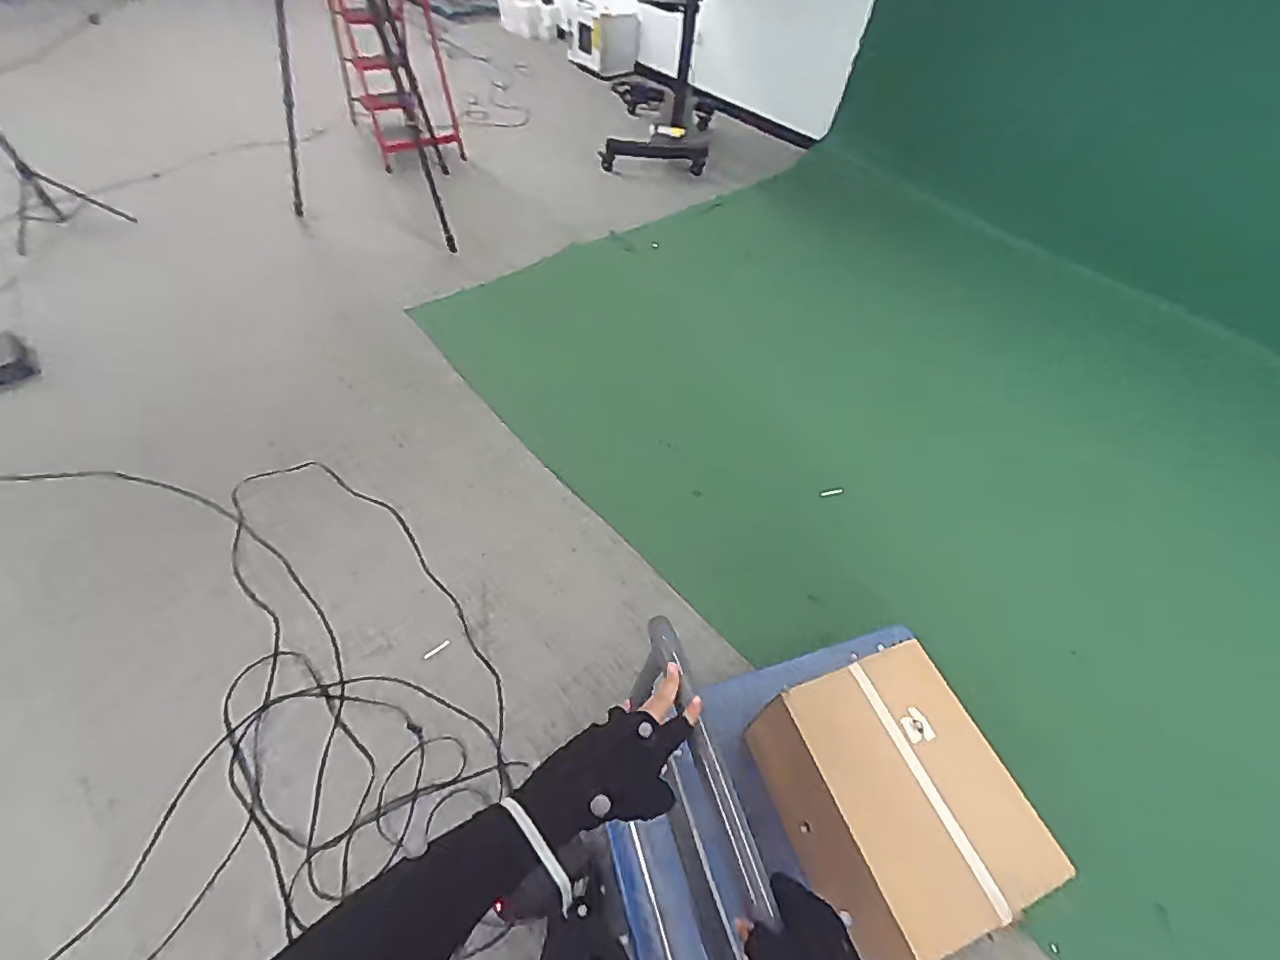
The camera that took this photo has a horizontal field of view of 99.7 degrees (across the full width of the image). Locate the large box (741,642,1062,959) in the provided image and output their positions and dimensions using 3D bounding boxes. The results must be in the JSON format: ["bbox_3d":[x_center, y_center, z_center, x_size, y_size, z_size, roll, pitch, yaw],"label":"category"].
[{"bbox_3d":[0.445,0.595,1.034,0.320,0.320,0.408,-14,54,-17],"label":"large box"}]
